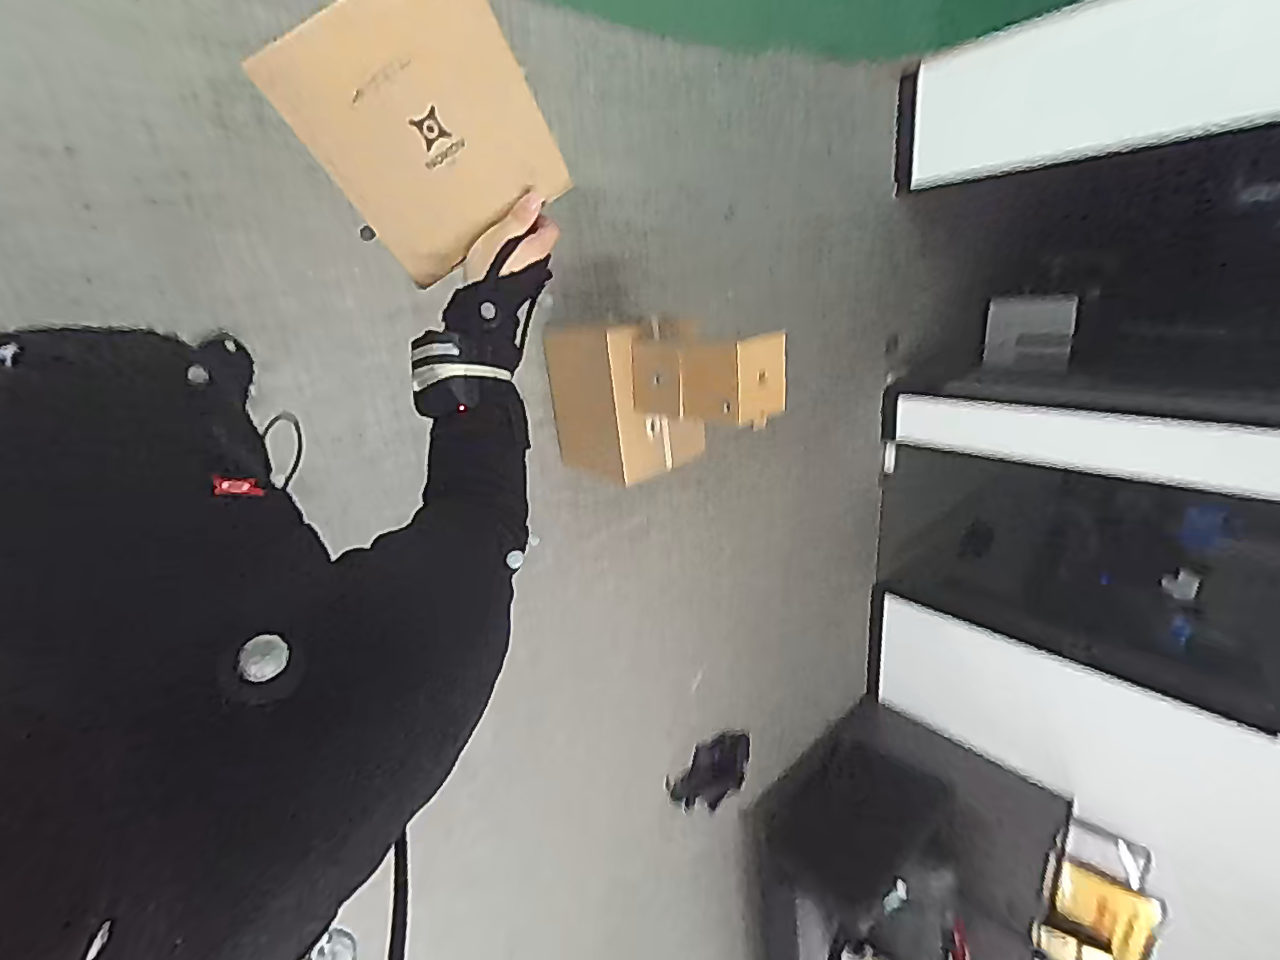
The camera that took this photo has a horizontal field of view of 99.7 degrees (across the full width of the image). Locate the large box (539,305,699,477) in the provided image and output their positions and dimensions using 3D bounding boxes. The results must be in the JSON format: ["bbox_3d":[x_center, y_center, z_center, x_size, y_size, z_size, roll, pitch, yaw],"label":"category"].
[{"bbox_3d":[-0.054,-0.273,1.548,0.320,0.320,0.408,-22,118,-34],"label":"large box"}]

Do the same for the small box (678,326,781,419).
[{"bbox_3d":[0.200,-0.249,1.222,0.168,0.176,0.179,-22,117,-36],"label":"small box"}]
